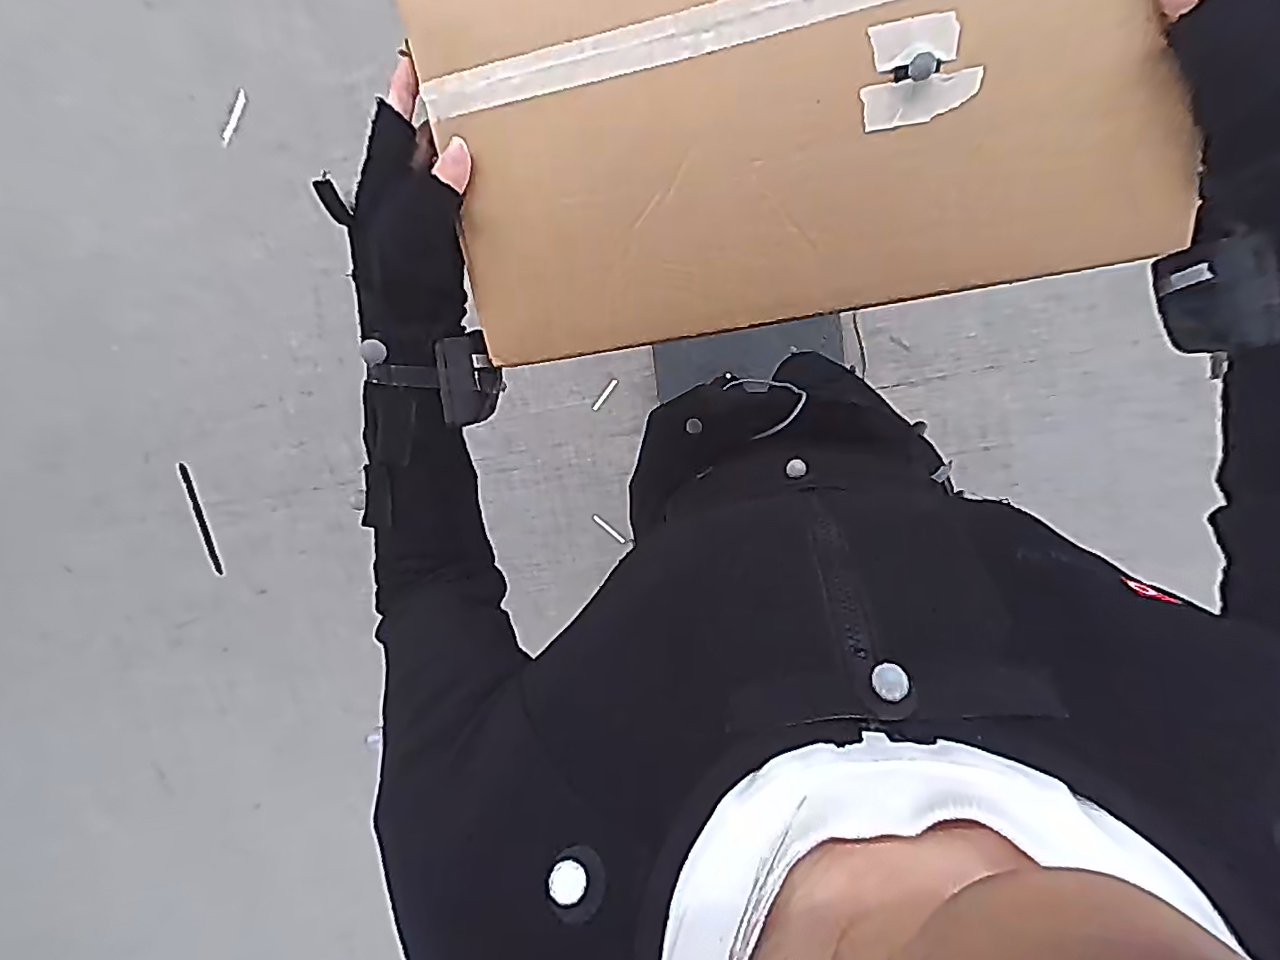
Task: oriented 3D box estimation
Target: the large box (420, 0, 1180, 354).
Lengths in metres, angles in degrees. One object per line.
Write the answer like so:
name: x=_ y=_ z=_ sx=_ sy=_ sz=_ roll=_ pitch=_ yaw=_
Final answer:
large box: x=0.089 y=-0.301 z=0.438 sx=0.408 sy=0.320 sz=0.320 roll=-8 pitch=107 yaw=9
